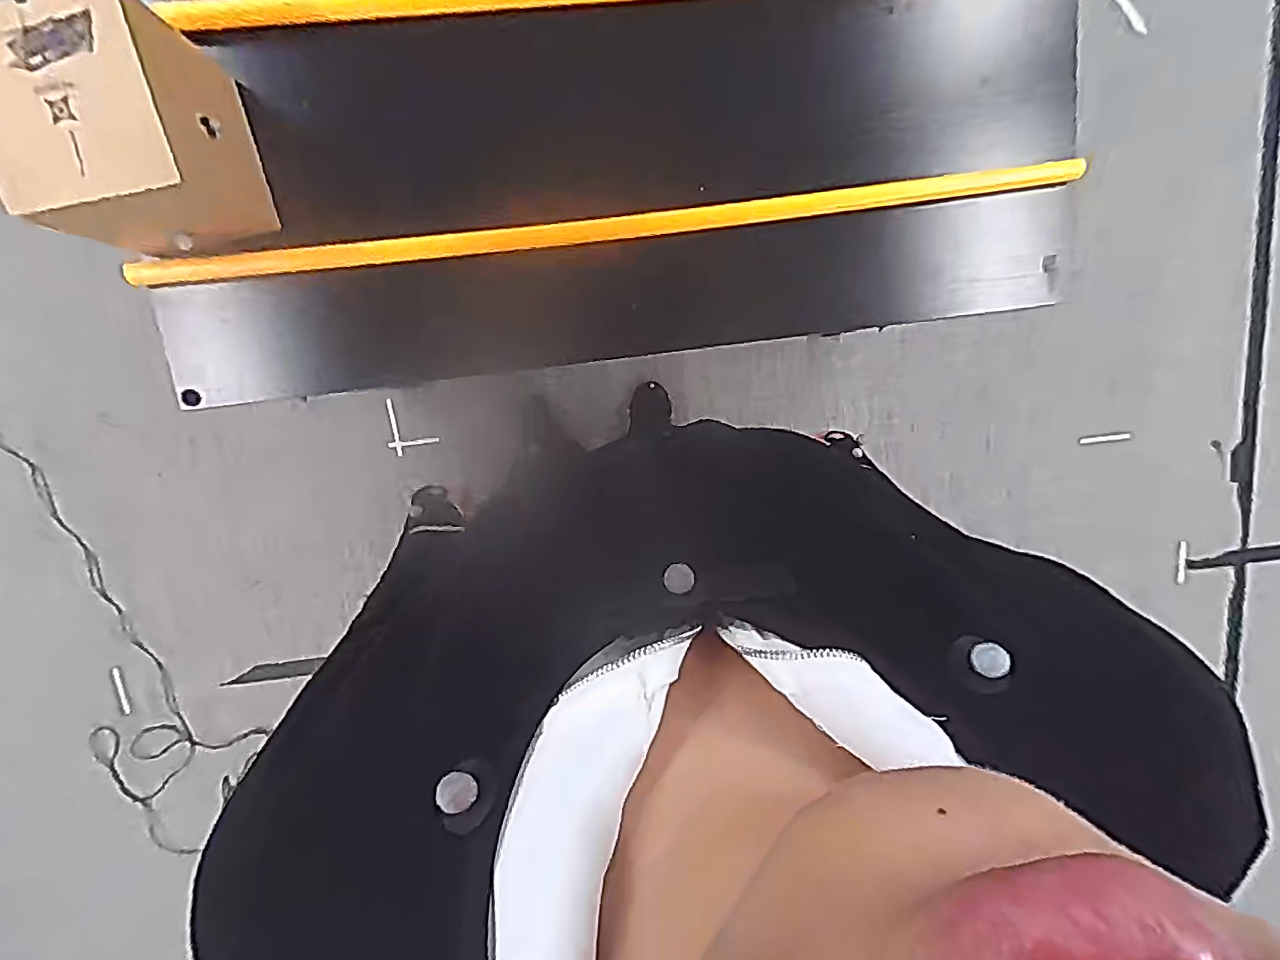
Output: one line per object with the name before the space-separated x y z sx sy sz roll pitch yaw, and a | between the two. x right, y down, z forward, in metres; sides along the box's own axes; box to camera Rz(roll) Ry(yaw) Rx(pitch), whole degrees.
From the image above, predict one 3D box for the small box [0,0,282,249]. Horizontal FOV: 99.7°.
small box | -0.529 -0.369 0.575 0.168 0.176 0.179 -13 102 -2
